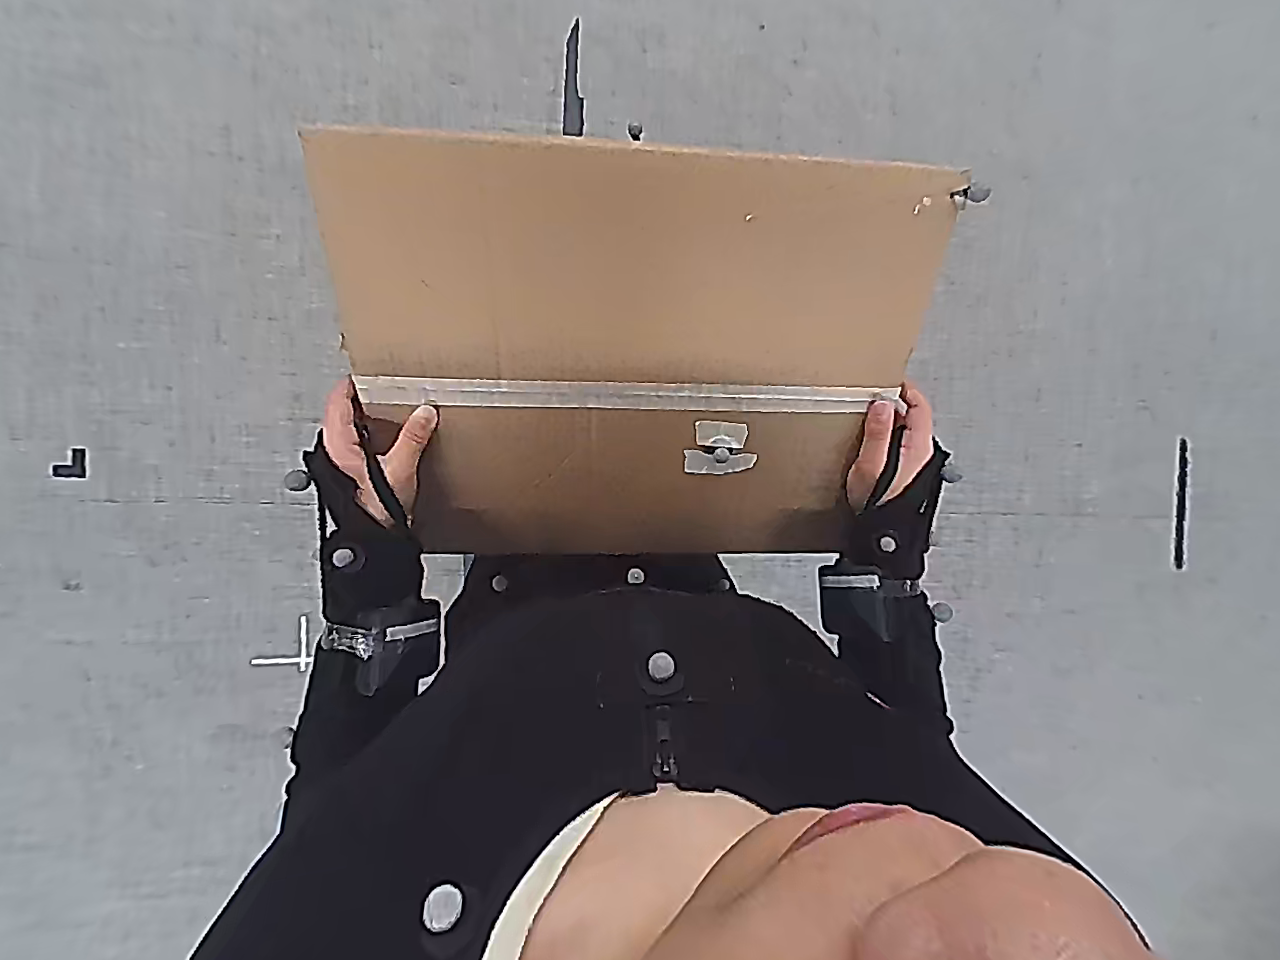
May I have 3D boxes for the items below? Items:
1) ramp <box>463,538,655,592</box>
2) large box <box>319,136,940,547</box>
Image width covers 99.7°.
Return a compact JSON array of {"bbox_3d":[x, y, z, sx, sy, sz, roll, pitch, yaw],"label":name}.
[{"bbox_3d":[-0.185,-0.196,1.308,0.509,0.206,0.991,0,93,-8],"label":"ramp"},{"bbox_3d":[-0.017,-0.153,0.543,0.408,0.320,0.320,-1,123,-6],"label":"large box"}]
